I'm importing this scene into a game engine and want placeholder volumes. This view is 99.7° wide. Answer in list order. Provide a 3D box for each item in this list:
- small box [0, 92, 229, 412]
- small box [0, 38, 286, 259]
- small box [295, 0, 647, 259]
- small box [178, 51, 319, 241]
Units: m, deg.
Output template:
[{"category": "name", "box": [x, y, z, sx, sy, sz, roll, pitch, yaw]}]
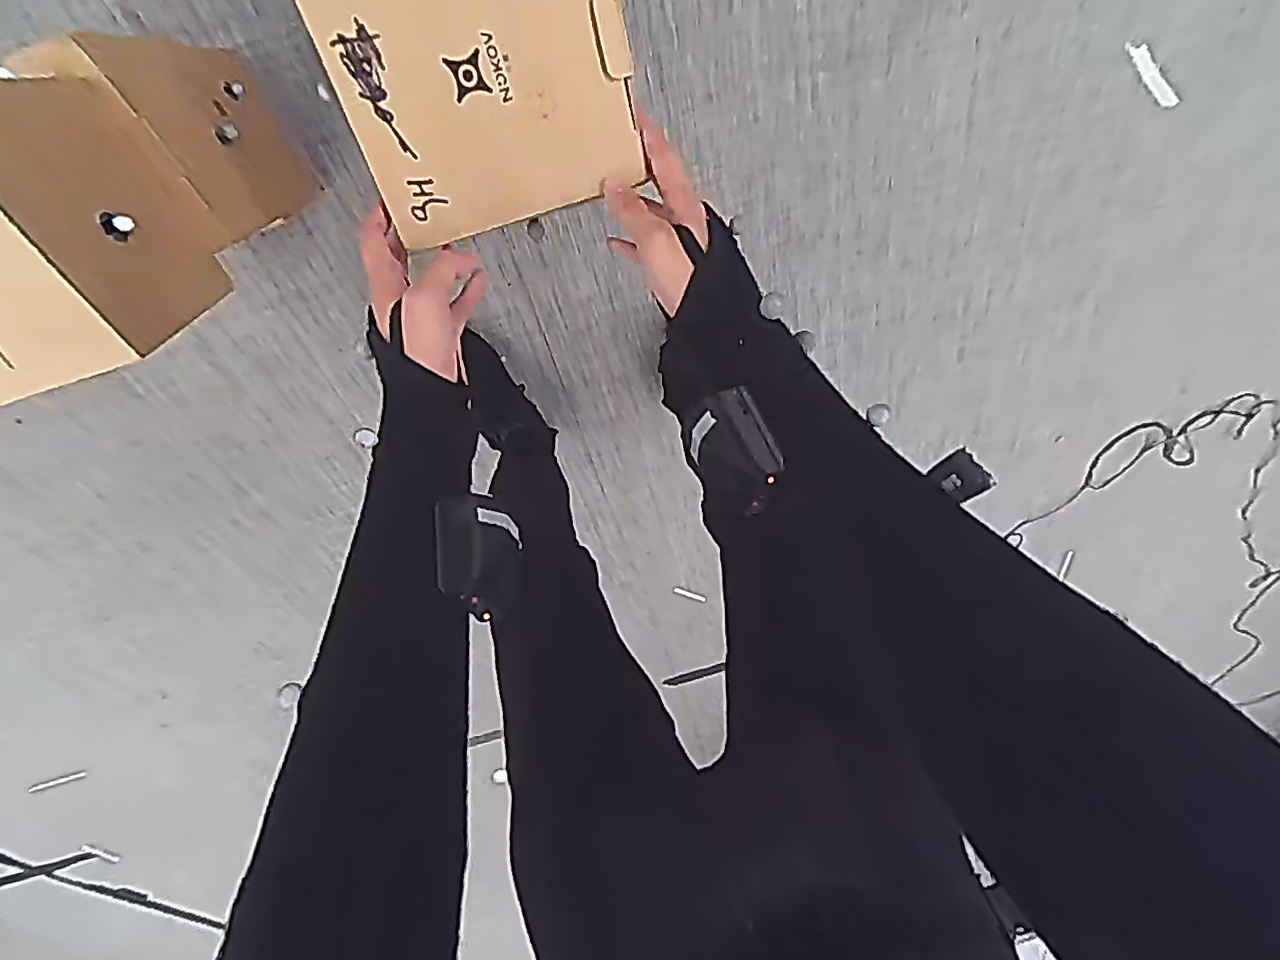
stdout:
[{"category": "small box", "box": [-0.479, -0.175, 0.414, 0.168, 0.176, 0.179, -17, 129, 2]}, {"category": "small box", "box": [-0.498, -0.295, 0.528, 0.179, 0.176, 0.168, -20, 128, 4]}, {"category": "small box", "box": [-0.110, -0.274, 0.400, 0.179, 0.176, 0.168, -18, 116, -3]}, {"category": "small box", "box": [-0.538, -0.387, 0.659, 0.168, 0.176, 0.179, -20, 129, 3]}]
